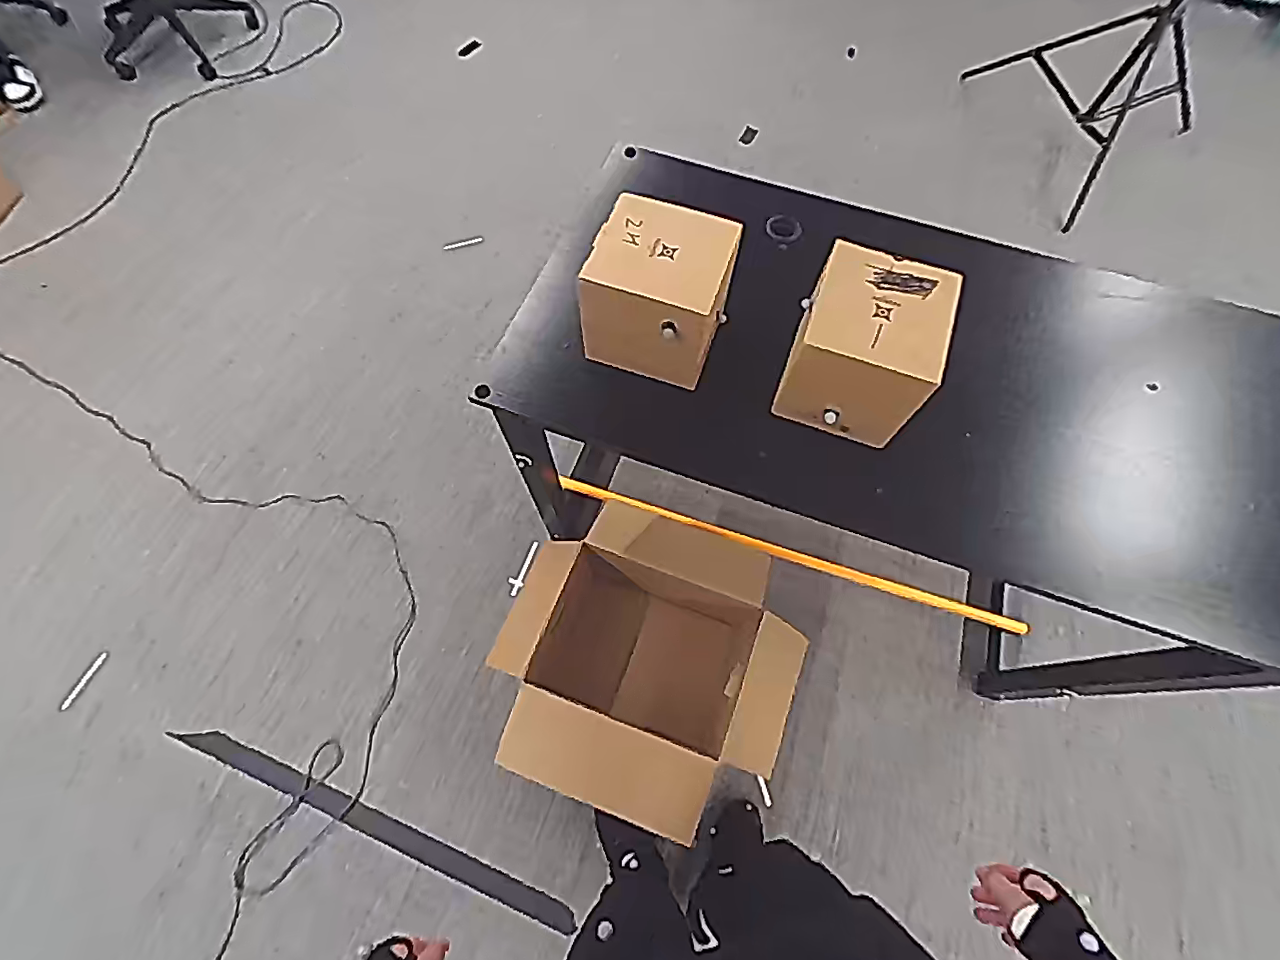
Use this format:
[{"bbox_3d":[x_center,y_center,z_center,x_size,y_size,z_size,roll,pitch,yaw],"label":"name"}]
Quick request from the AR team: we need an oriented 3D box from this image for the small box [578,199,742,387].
[{"bbox_3d":[0.027,-0.258,0.776,0.179,0.176,0.168,19,67,7],"label":"small box"}]

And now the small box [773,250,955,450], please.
[{"bbox_3d":[0.297,-0.172,0.745,0.168,0.176,0.179,20,68,8],"label":"small box"}]
